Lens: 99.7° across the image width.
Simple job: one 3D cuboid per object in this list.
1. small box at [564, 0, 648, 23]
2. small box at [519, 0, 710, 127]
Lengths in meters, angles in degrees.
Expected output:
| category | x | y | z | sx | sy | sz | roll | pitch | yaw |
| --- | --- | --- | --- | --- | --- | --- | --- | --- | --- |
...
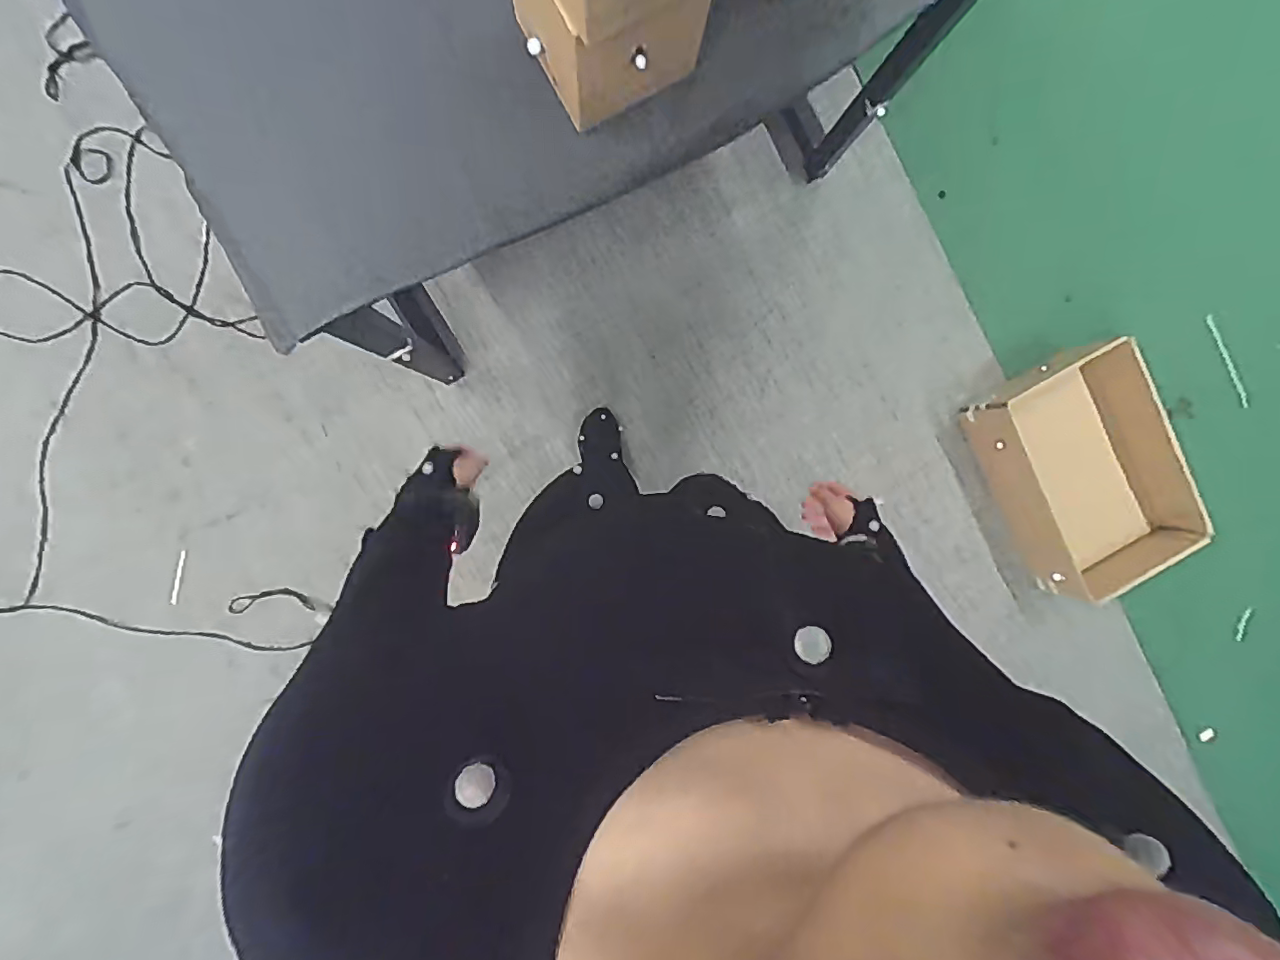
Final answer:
| category | x | y | z | sx | sy | sz | roll | pitch | yaw |
| --- | --- | --- | --- | --- | --- | --- | --- | --- | --- |
| small box | -0.019 | -0.536 | 0.445 | 0.168 | 0.176 | 0.179 | -31 | 94 | -3 |
| small box | -0.035 | -0.553 | 0.609 | 0.179 | 0.176 | 0.168 | -30 | 94 | -2 |
